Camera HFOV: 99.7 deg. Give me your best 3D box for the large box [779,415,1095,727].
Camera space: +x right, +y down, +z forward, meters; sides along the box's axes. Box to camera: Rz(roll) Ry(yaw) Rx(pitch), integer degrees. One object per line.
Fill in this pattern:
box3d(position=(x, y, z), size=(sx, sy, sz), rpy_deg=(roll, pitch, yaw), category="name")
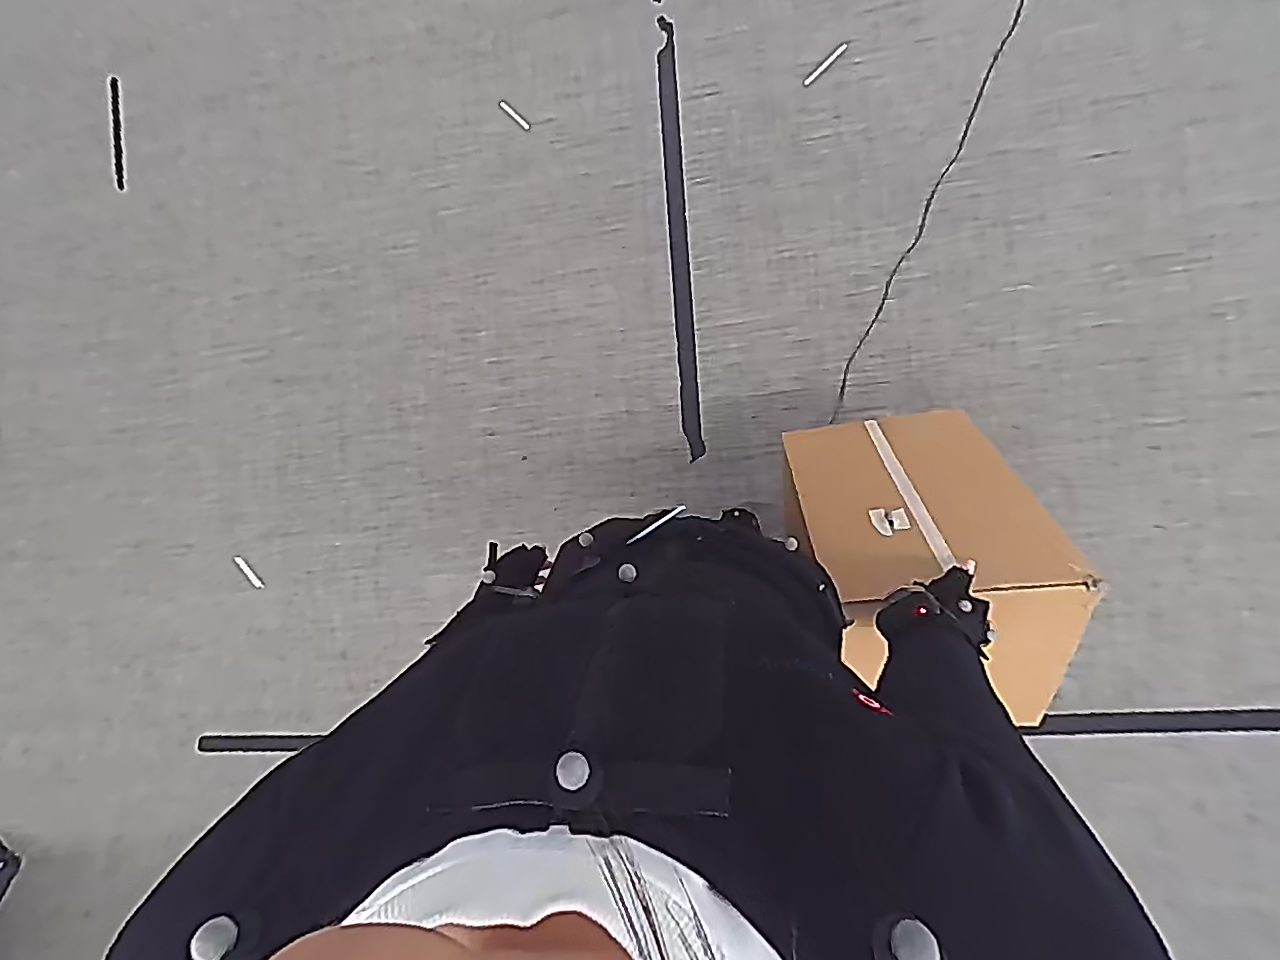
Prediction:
box3d(position=(0.423, 0.139, 0.900), size=(0.320, 0.408, 0.320), rpy_deg=(-7, 127, 10), category="large box")
